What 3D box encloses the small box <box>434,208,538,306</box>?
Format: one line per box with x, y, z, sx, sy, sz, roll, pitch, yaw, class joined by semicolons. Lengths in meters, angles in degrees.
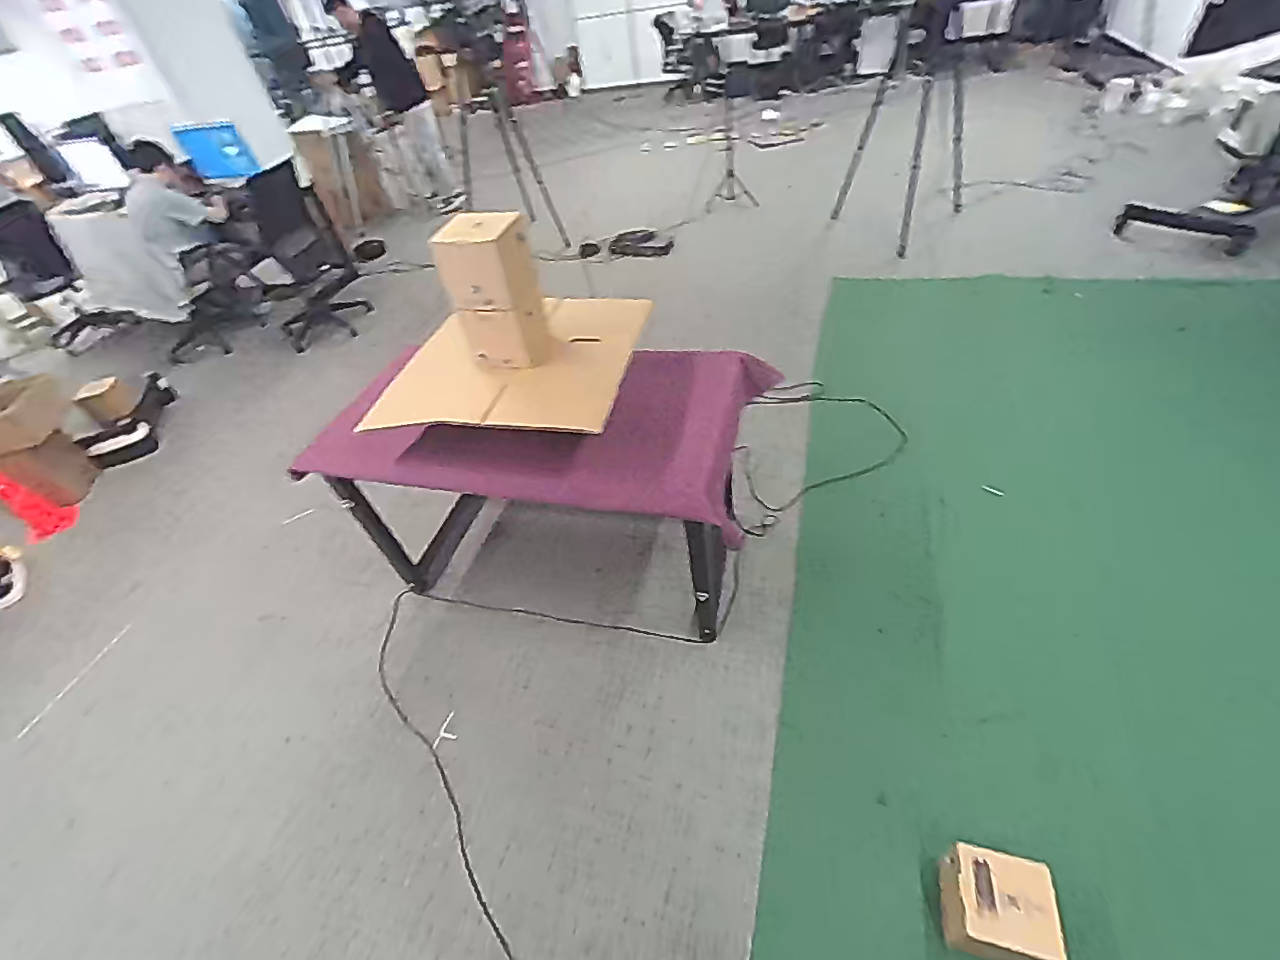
-0.362;-0.544;1.316;0.168;0.176;0.179;5;47;13;small box

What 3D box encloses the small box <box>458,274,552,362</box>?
-0.346;-0.427;1.431;0.168;0.176;0.179;6;46;13;small box
